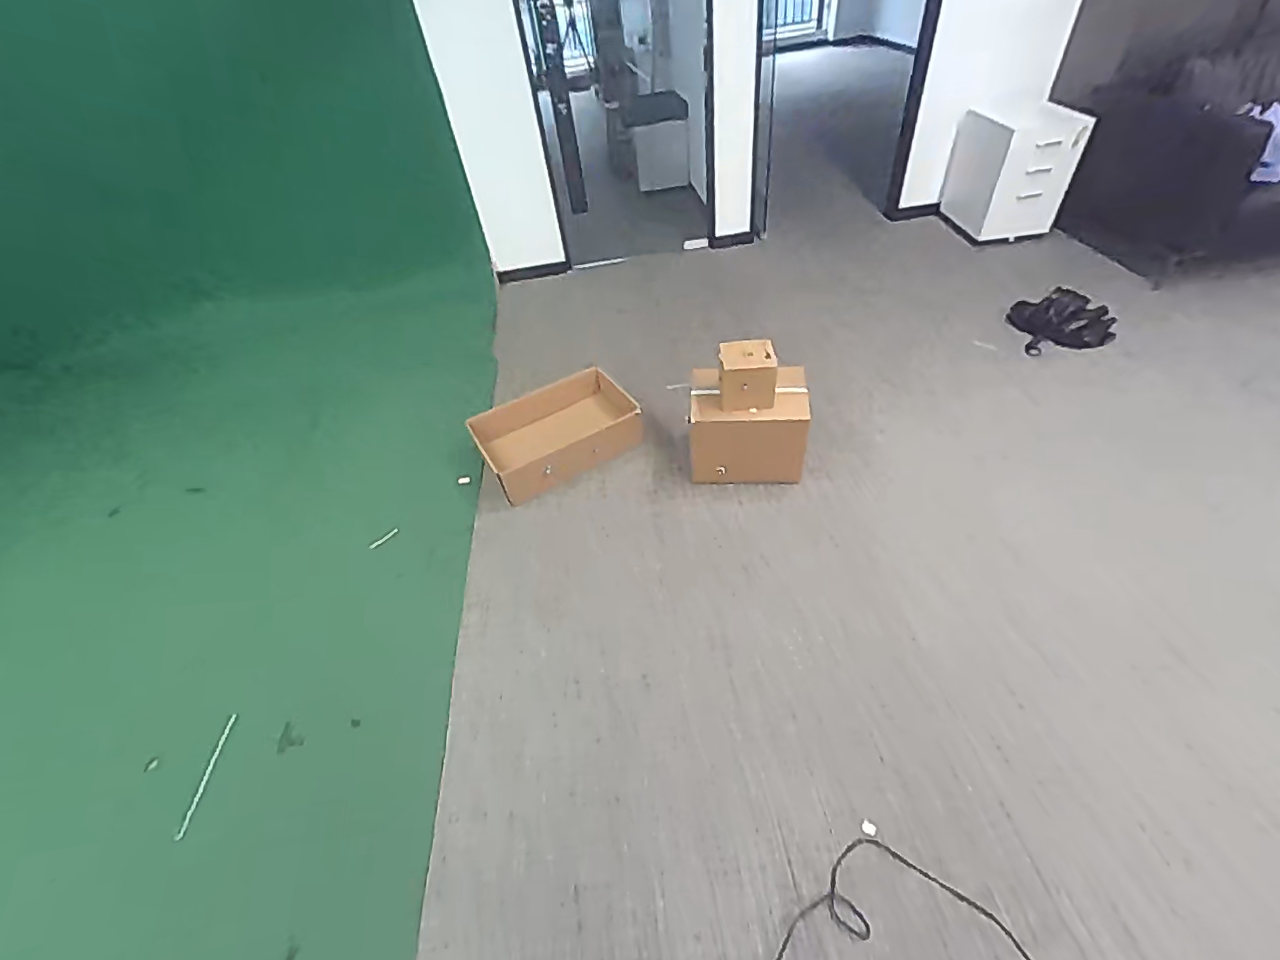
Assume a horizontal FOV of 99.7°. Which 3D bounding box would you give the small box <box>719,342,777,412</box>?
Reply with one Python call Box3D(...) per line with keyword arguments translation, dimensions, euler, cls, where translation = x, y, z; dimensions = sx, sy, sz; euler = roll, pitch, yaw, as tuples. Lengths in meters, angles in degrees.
Box3D(translation=(0.365, -0.347, 1.844), dimensions=(0.179, 0.176, 0.168), euler=(-4, 45, 5), cls="small box")
